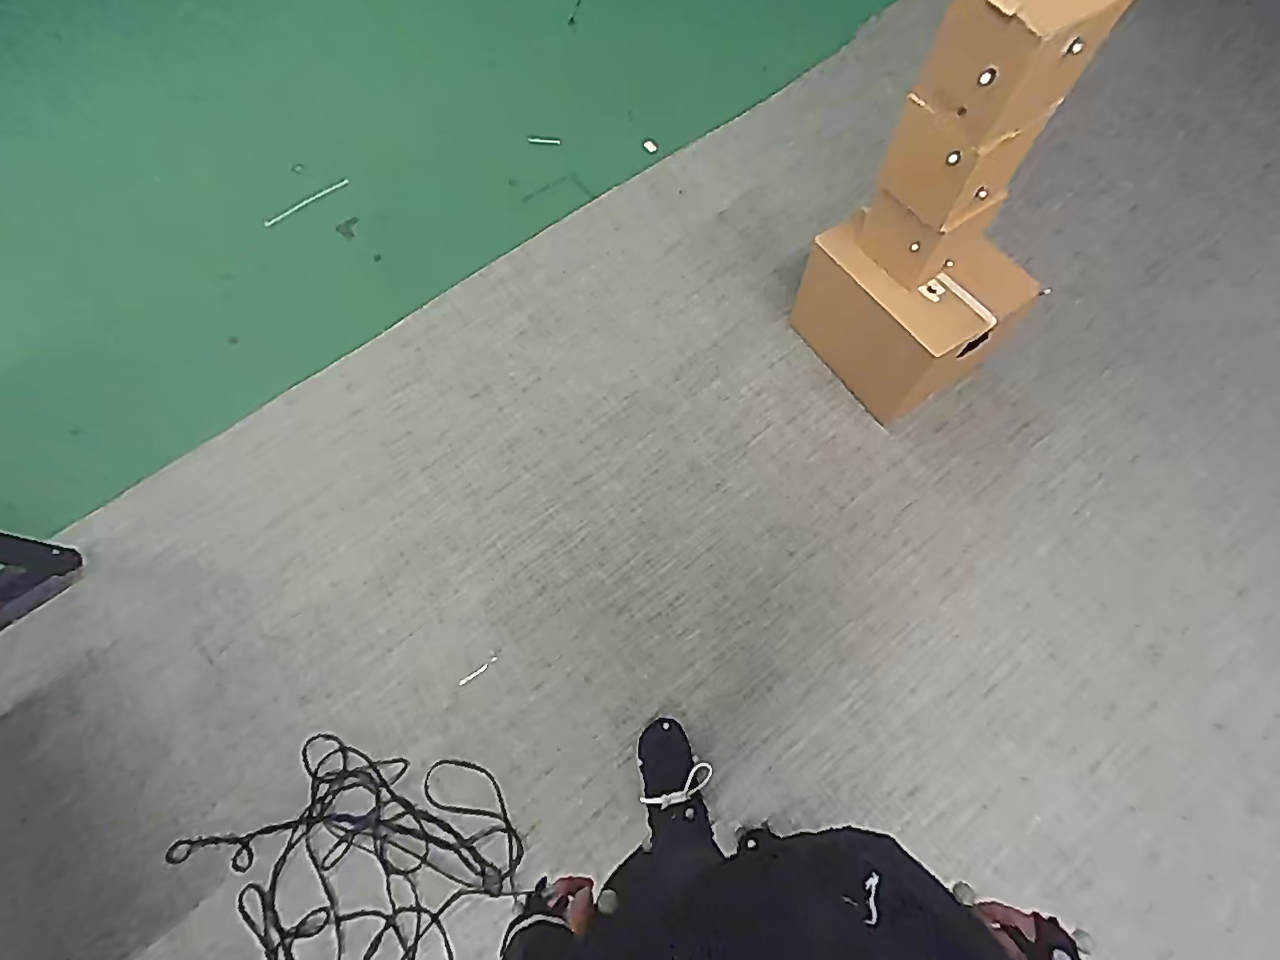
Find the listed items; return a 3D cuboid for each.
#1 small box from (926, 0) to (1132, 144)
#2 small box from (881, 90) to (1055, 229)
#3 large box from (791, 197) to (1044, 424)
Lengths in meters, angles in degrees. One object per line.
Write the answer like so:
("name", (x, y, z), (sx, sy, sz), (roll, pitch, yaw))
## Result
("small box", (0.579, -0.666, 0.835), (0.179, 0.176, 0.168), (-30, 72, -9))
("small box", (0.579, -0.601, 0.985), (0.168, 0.176, 0.179), (-33, 71, -9))
("large box", (0.648, -0.421, 1.348), (0.320, 0.320, 0.408), (-32, 71, -8))
